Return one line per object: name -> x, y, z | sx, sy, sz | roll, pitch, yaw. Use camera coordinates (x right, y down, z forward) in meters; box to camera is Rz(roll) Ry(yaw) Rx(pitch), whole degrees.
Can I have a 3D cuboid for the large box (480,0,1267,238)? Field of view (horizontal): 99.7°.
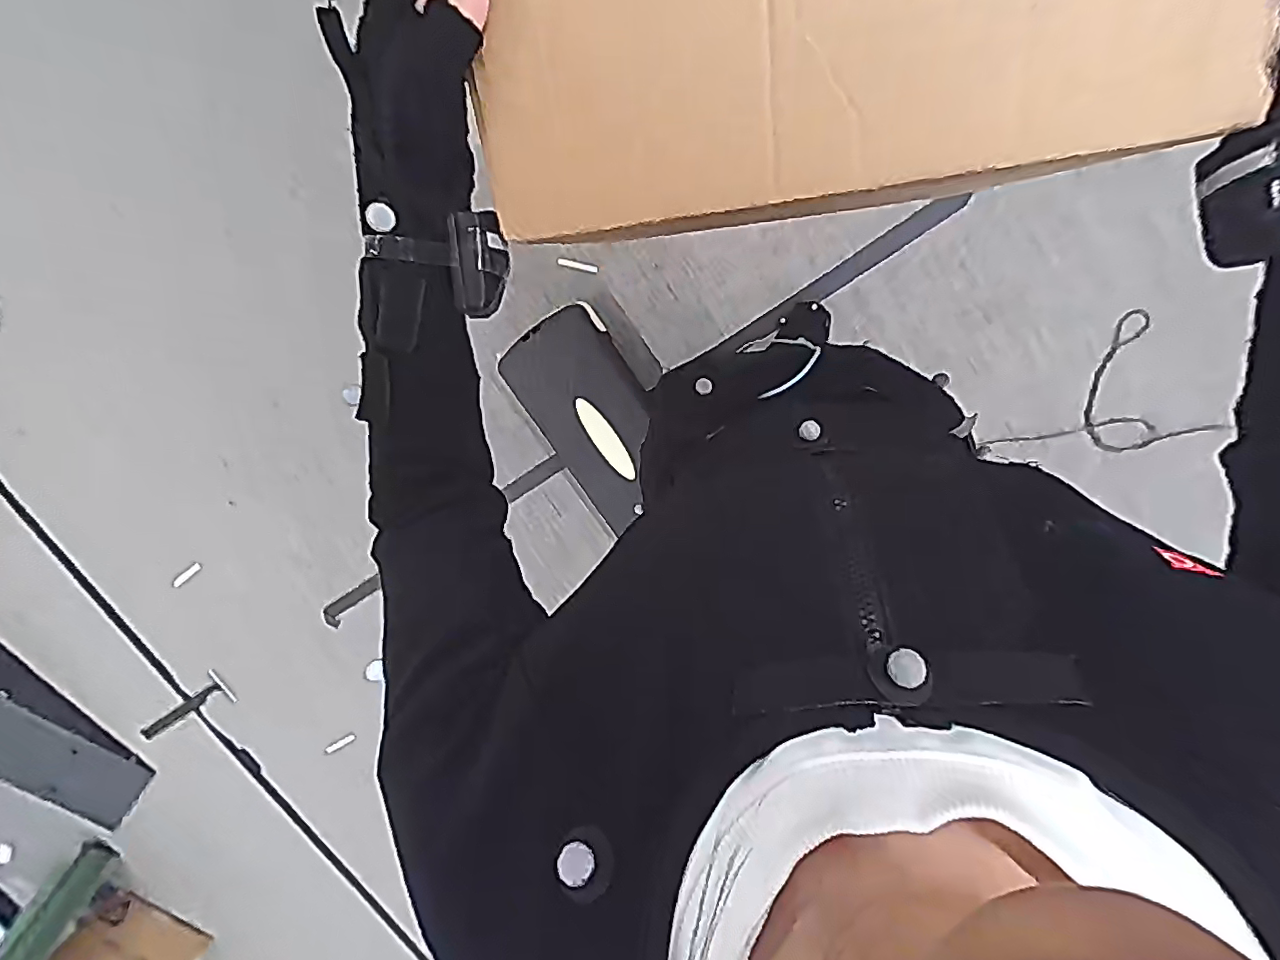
large box -> 0.115, -0.376, 0.394 | 0.408, 0.320, 0.320 | -4, 113, 9
